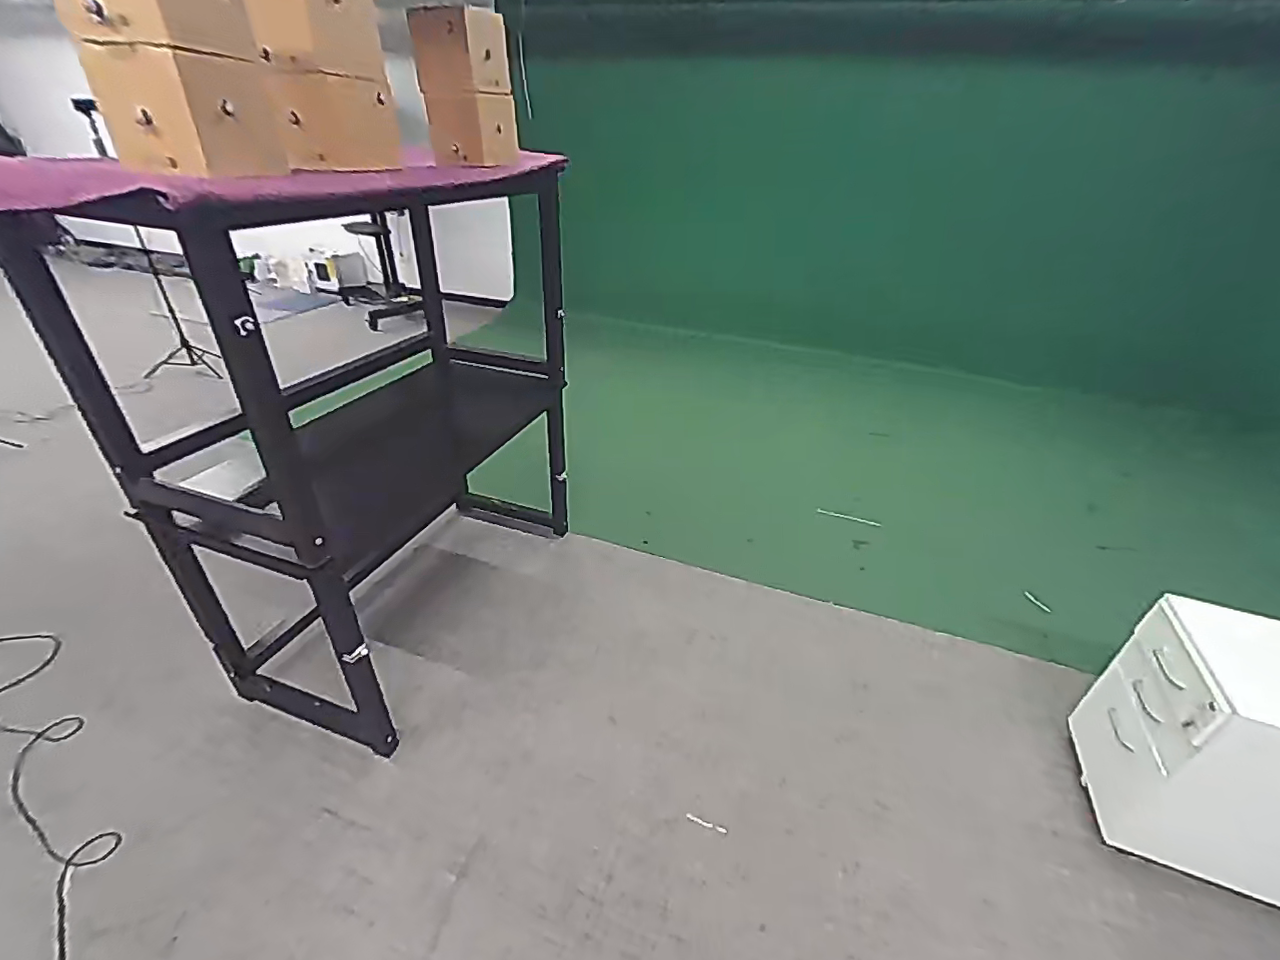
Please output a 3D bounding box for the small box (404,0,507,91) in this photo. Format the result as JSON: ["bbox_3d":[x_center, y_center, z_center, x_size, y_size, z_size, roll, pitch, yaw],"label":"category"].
[{"bbox_3d":[-0.460,-1.101,1.381,0.179,0.176,0.168,12,35,18],"label":"small box"}]

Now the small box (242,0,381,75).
[{"bbox_3d":[-0.644,-0.900,1.063,0.168,0.176,0.179,13,32,17],"label":"small box"}]

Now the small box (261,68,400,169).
[{"bbox_3d":[-0.643,-0.760,1.149,0.168,0.176,0.179,12,33,17],"label":"small box"}]

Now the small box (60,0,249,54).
[{"bbox_3d":[-0.719,-0.731,0.790,0.168,0.176,0.179,6,33,5],"label":"small box"}]

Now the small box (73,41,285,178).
[{"bbox_3d":[-0.725,-0.594,0.878,0.168,0.176,0.179,8,33,7],"label":"small box"}]
